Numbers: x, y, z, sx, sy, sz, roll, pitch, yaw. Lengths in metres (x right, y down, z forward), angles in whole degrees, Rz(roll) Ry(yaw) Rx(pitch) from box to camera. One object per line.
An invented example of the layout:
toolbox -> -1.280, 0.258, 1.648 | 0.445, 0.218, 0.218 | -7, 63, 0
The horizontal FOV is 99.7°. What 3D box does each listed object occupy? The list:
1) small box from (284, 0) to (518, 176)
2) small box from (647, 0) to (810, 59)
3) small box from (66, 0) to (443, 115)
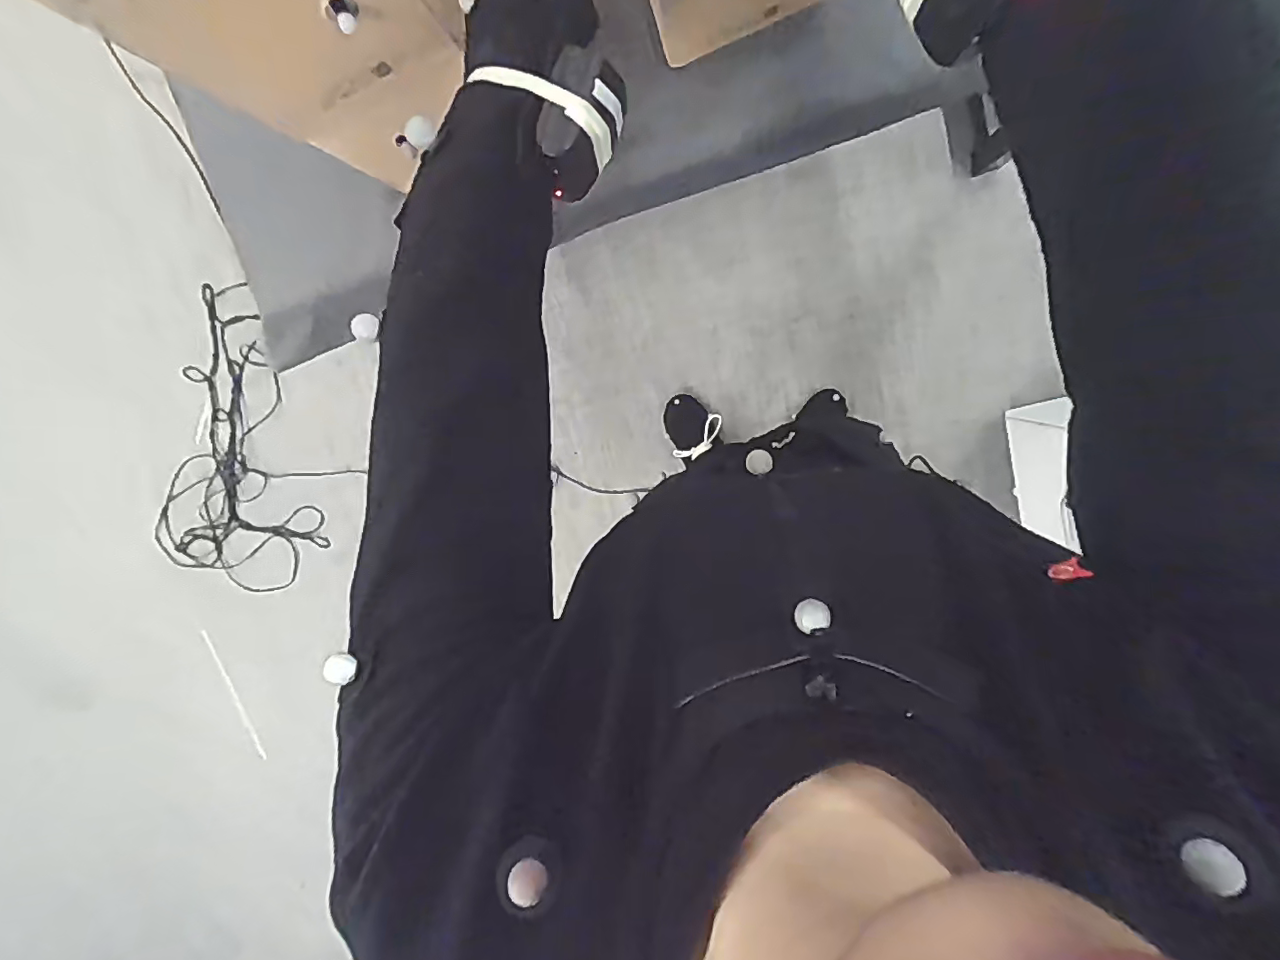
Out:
small box -> -0.239, -0.417, 0.509 | 0.168, 0.176, 0.179 | -19, 99, 12
small box -> 0.065, -0.511, 0.446 | 0.168, 0.176, 0.179 | -17, 99, 11
small box -> -0.261, -0.380, 0.352 | 0.168, 0.176, 0.179 | -20, 98, 10
